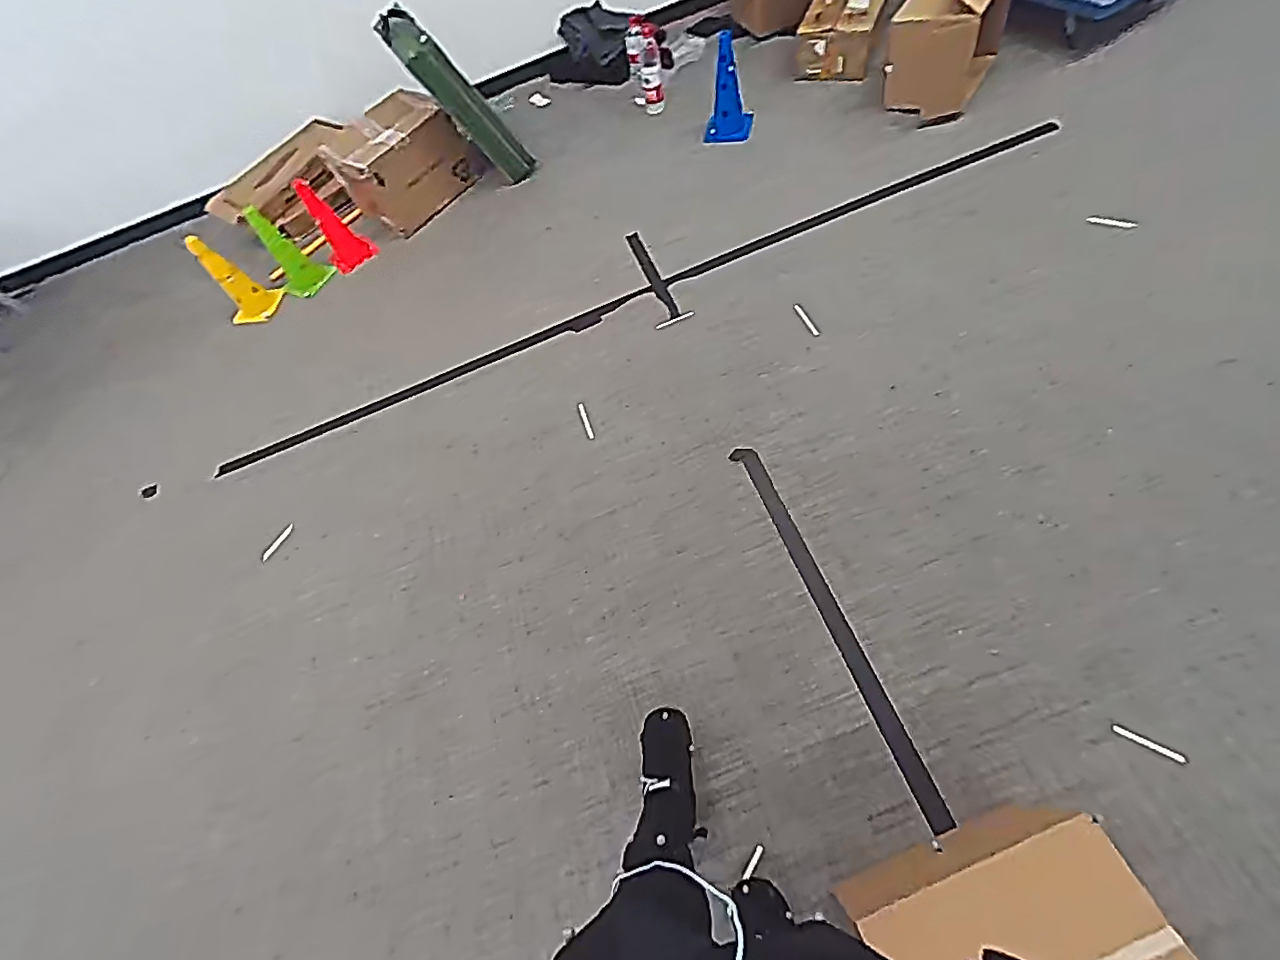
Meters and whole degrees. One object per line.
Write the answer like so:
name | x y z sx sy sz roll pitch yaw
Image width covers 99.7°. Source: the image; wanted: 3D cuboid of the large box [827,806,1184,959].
large box | 0.577 0.781 0.879 0.408 0.320 0.320 -24 60 -2
